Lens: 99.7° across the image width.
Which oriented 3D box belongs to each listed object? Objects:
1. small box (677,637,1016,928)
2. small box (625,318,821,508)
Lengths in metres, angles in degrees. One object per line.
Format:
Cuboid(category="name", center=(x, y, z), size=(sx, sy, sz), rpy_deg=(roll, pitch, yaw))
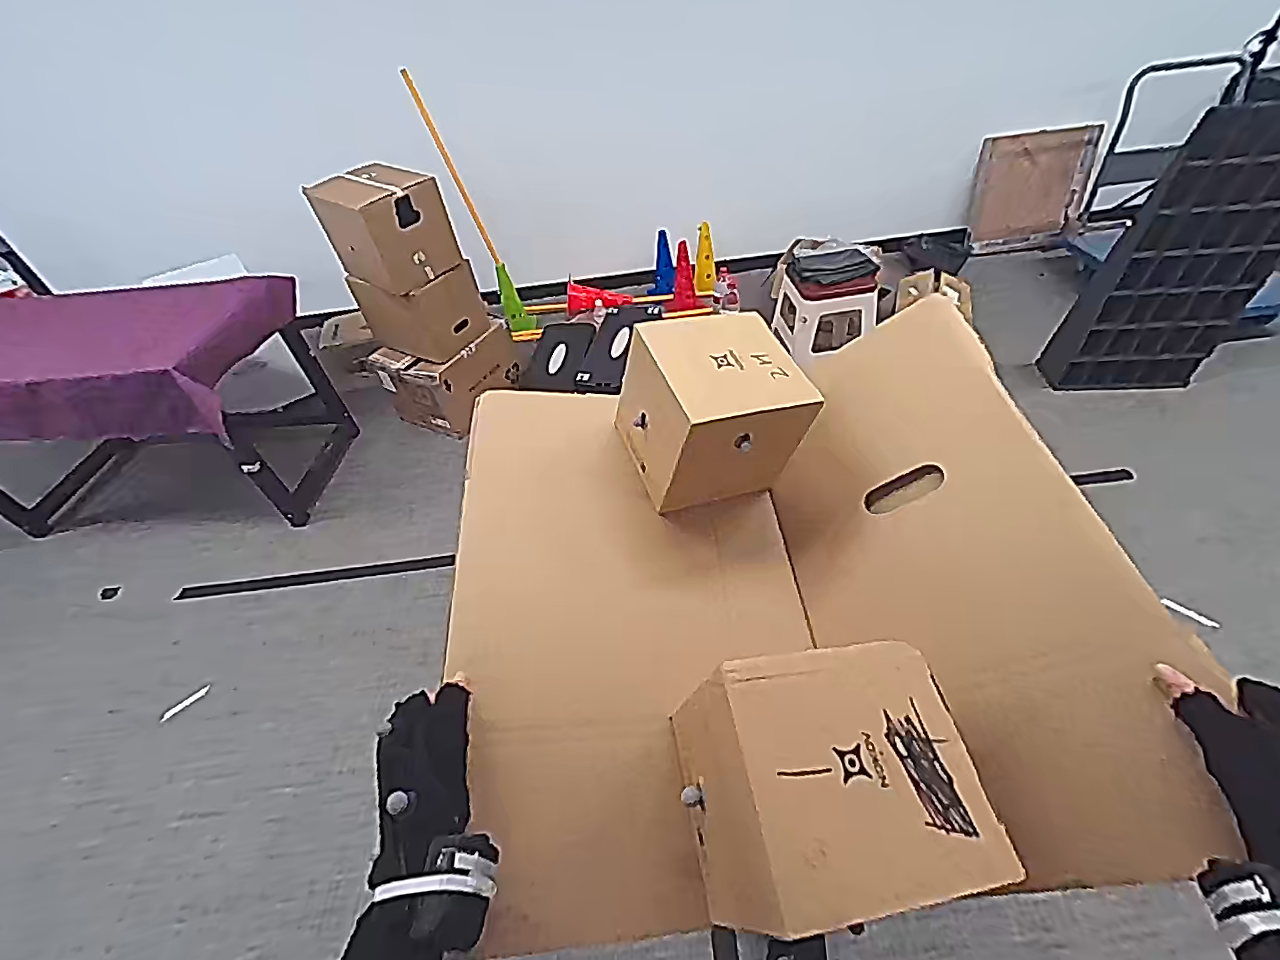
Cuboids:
Cuboid(category="small box", center=(0.145, 0.246, 0.451), size=(0.179, 0.176, 0.168), rpy_deg=(-3, 54, -13))
Cuboid(category="small box", center=(0.088, -0.083, 0.691), size=(0.179, 0.176, 0.168), rpy_deg=(-11, 56, -21))
